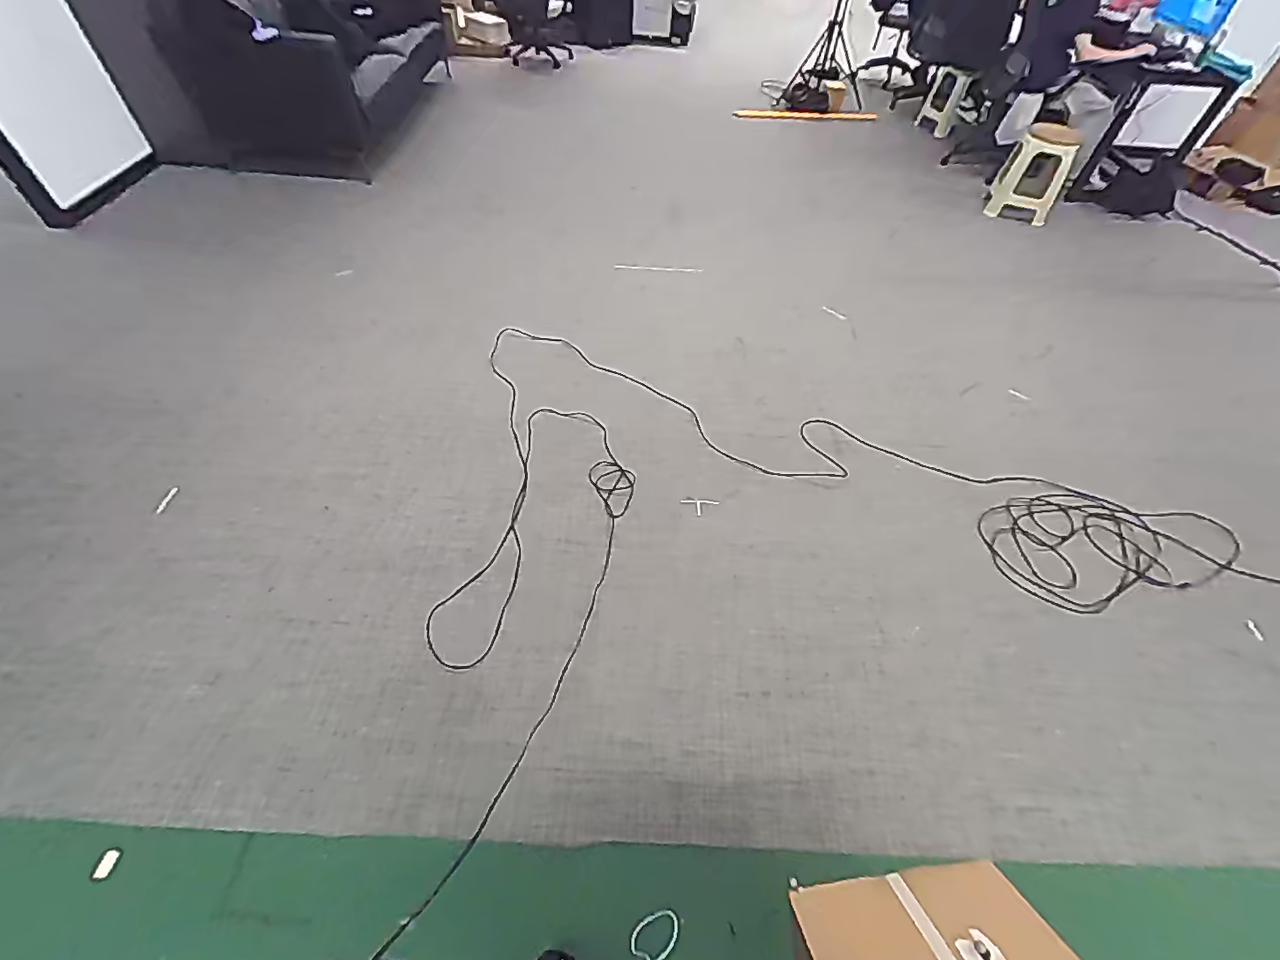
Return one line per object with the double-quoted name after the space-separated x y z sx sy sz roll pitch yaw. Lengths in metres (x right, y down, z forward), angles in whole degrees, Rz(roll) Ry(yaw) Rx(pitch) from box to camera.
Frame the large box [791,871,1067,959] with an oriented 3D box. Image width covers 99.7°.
0.404 0.767 0.619 0.320 0.408 0.320 -6 94 -3 "large box"
